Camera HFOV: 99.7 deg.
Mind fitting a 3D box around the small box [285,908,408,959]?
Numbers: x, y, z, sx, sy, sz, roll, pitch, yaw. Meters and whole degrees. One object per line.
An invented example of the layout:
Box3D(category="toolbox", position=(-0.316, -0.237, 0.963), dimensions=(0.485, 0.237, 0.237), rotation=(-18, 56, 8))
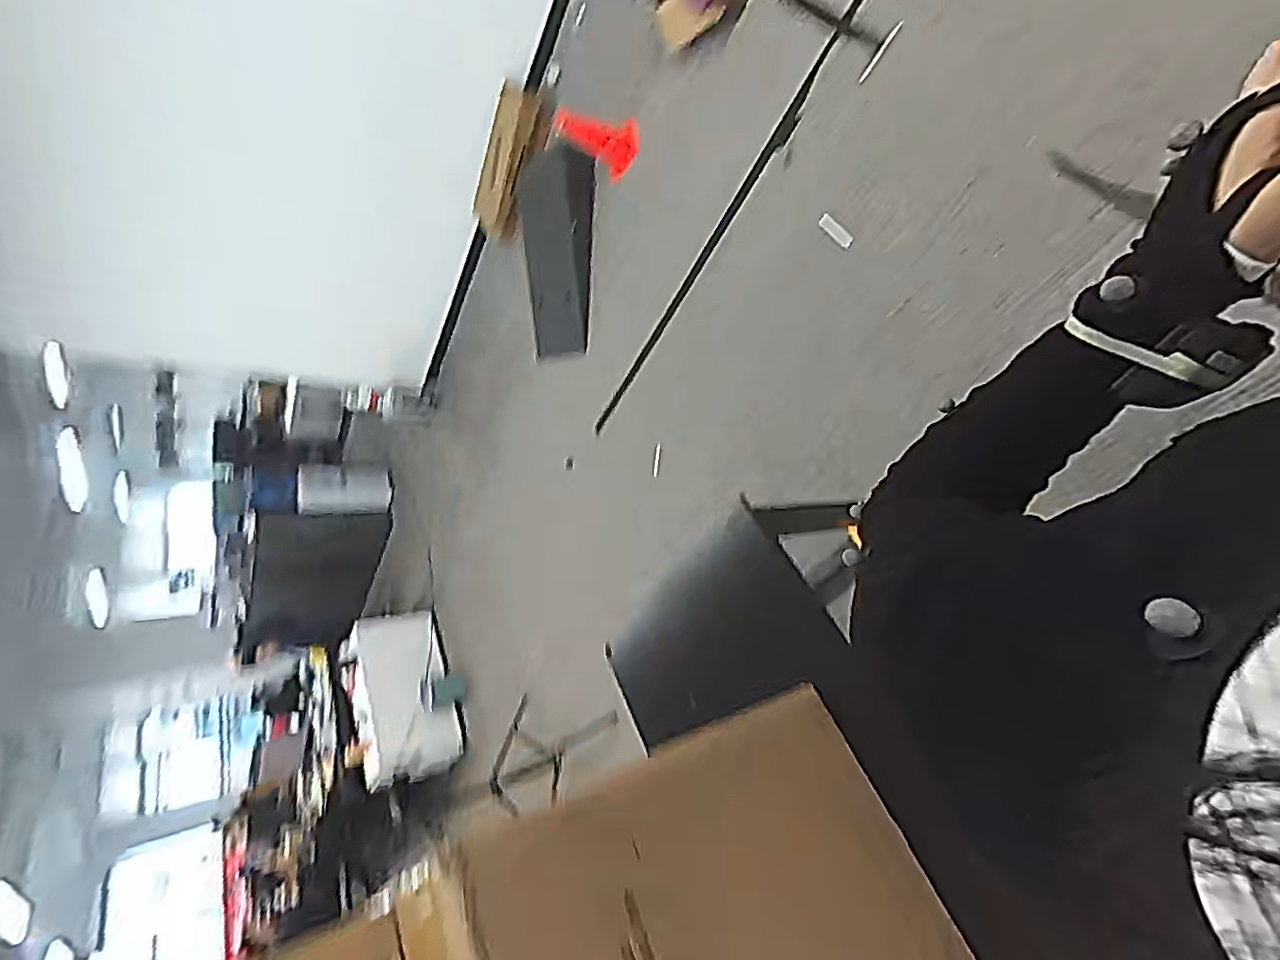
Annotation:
Box3D(category="small box", position=(-0.347, 0.610, 0.584), dimensions=(0.179, 0.176, 0.168), rotation=(-56, 52, 37))
